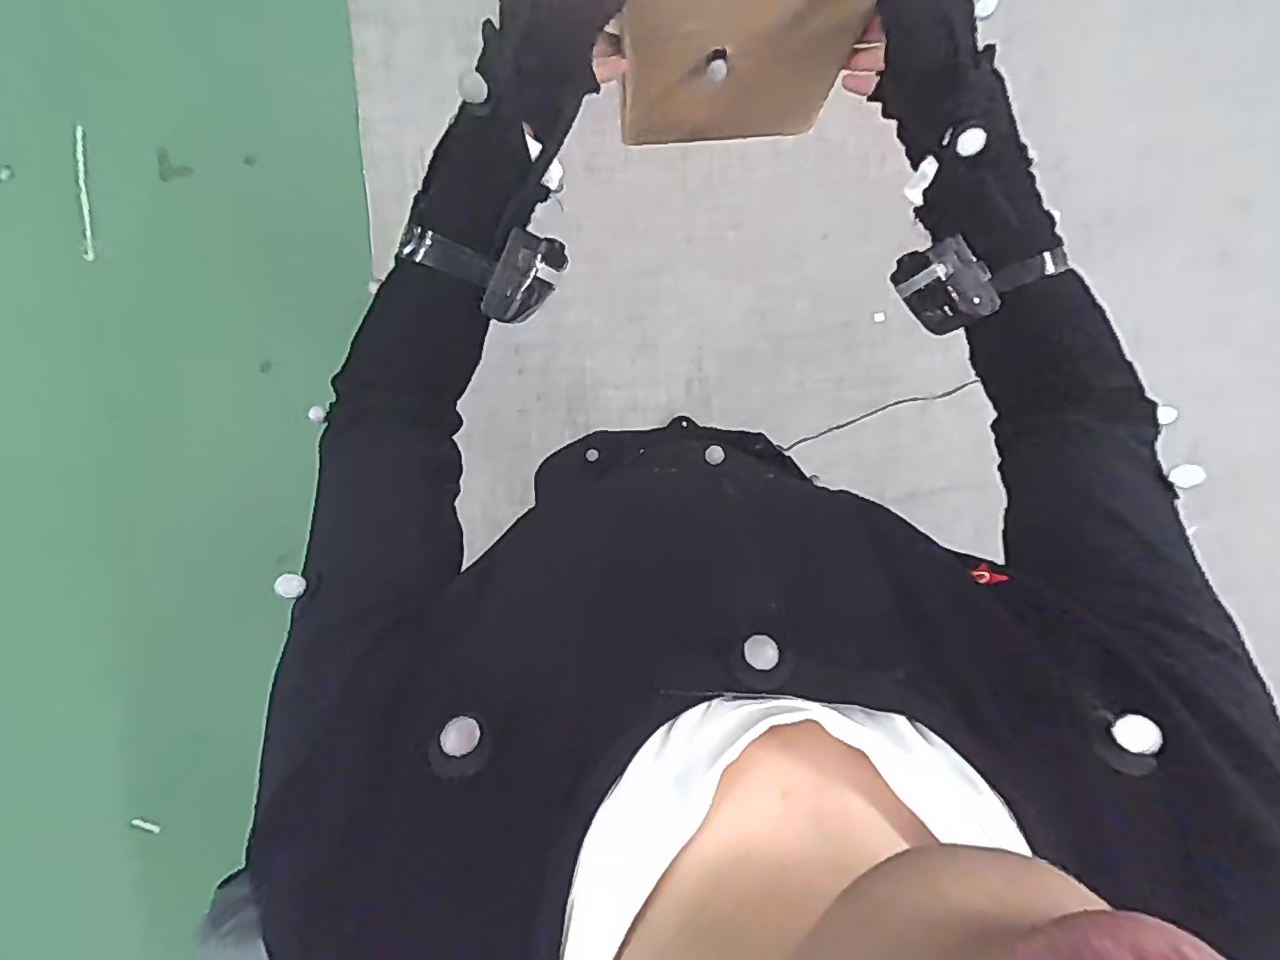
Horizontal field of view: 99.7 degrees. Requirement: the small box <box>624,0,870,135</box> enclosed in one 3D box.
[{"bbox_3d":[0.075,-0.399,0.419,0.179,0.176,0.168,-4,90,-1],"label":"small box"}]
